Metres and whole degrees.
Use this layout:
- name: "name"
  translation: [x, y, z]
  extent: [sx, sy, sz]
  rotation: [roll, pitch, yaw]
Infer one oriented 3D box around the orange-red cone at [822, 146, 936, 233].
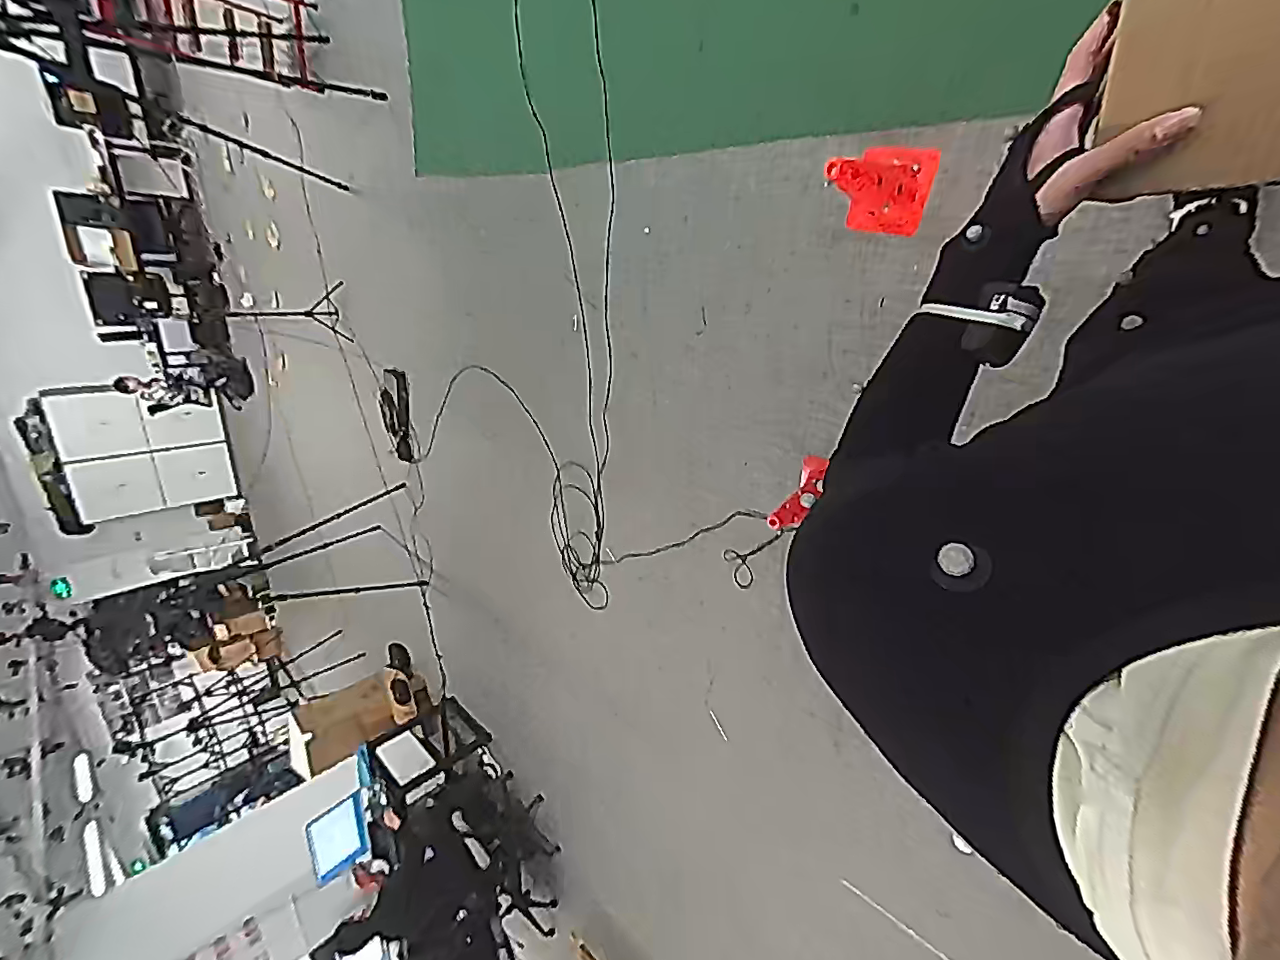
- name: "orange-red cone"
  translation: [0.539, -0.735, 1.318]
  extent: [0.199, 0.360, 0.198]
  rotation: [30, 122, 36]
